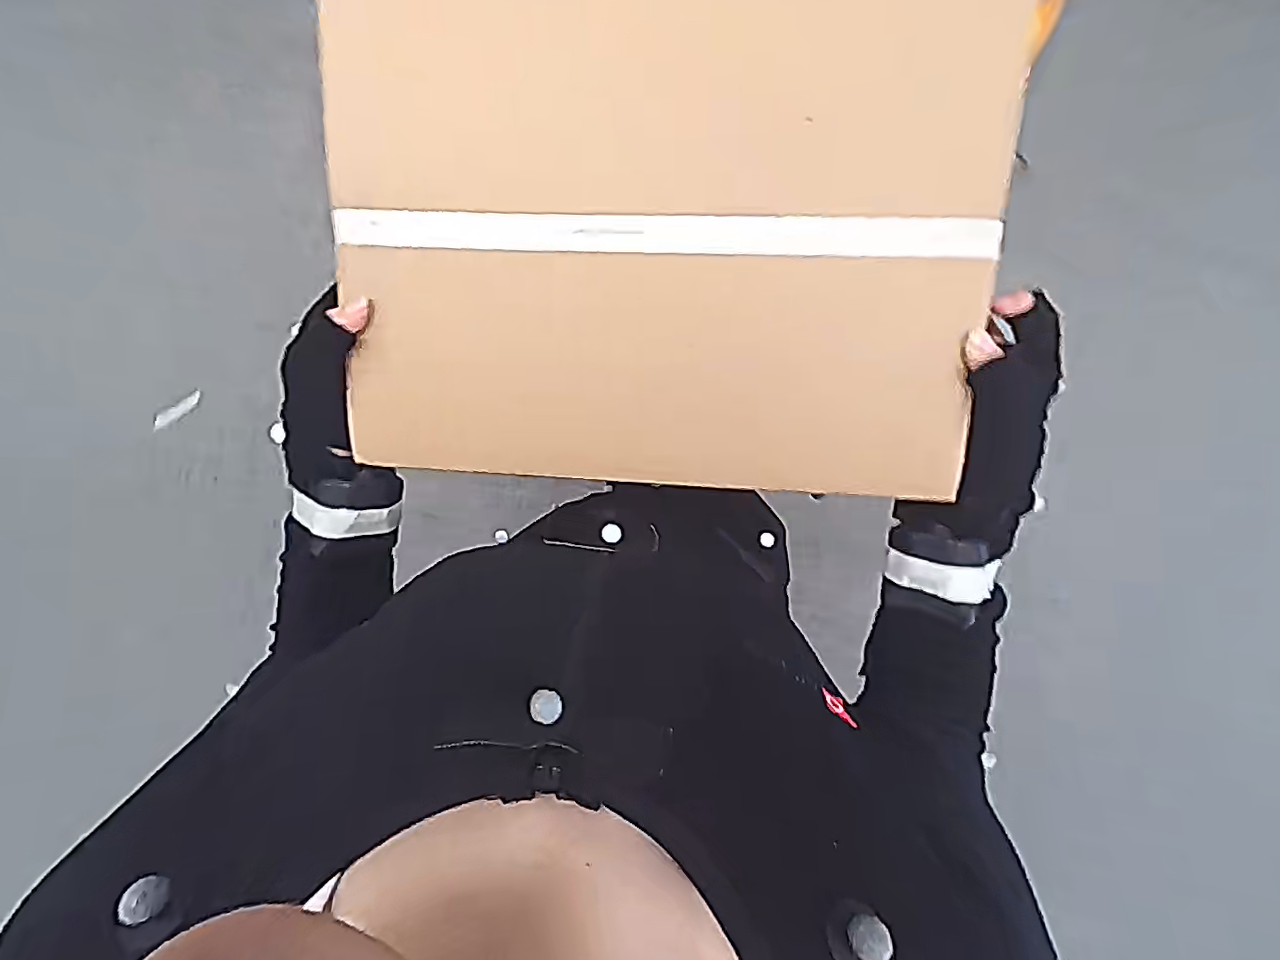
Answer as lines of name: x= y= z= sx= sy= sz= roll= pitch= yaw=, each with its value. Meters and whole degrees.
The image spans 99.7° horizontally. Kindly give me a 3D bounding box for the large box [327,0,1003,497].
large box: x=0.017 y=-0.178 z=0.488 sx=0.408 sy=0.320 sz=0.320 roll=3 pitch=102 yaw=5
